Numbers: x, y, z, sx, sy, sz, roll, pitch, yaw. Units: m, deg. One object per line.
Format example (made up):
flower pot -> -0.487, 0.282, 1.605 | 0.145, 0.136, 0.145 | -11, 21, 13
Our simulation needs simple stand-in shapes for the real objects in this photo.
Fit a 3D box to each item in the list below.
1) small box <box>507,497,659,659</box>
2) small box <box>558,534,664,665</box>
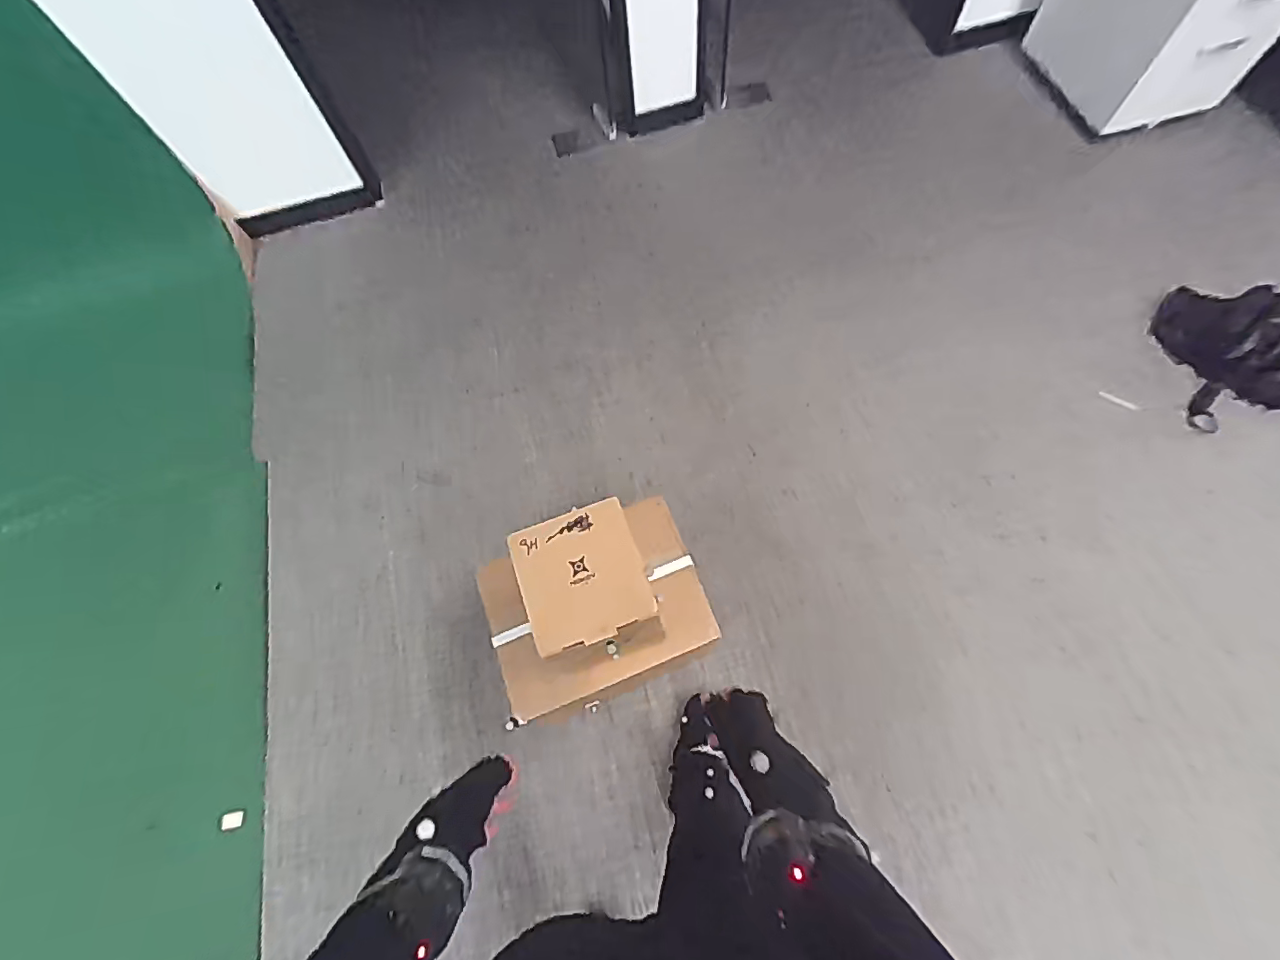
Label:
small box -> -0.075, 0.152, 0.795 | 0.168, 0.176, 0.179 | -20, 69, -3
small box -> -0.063, 0.216, 0.945 | 0.179, 0.176, 0.168 | -19, 69, -5
